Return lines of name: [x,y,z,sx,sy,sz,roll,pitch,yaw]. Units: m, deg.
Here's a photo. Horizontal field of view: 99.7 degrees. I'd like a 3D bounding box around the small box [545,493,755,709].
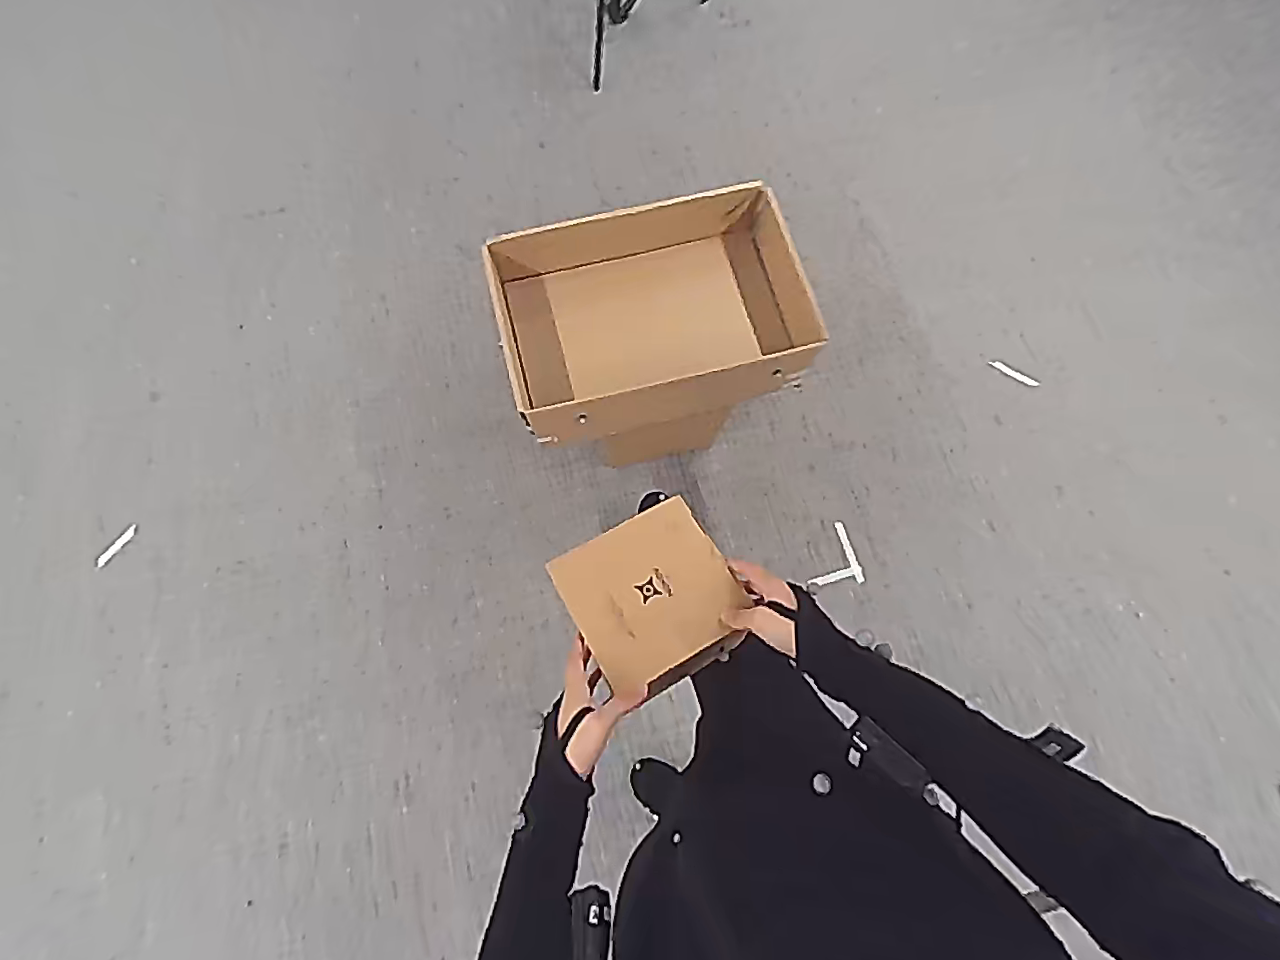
small box: [0.007,0.150,0.649,0.179,0.176,0.168,-27,64,-14]
